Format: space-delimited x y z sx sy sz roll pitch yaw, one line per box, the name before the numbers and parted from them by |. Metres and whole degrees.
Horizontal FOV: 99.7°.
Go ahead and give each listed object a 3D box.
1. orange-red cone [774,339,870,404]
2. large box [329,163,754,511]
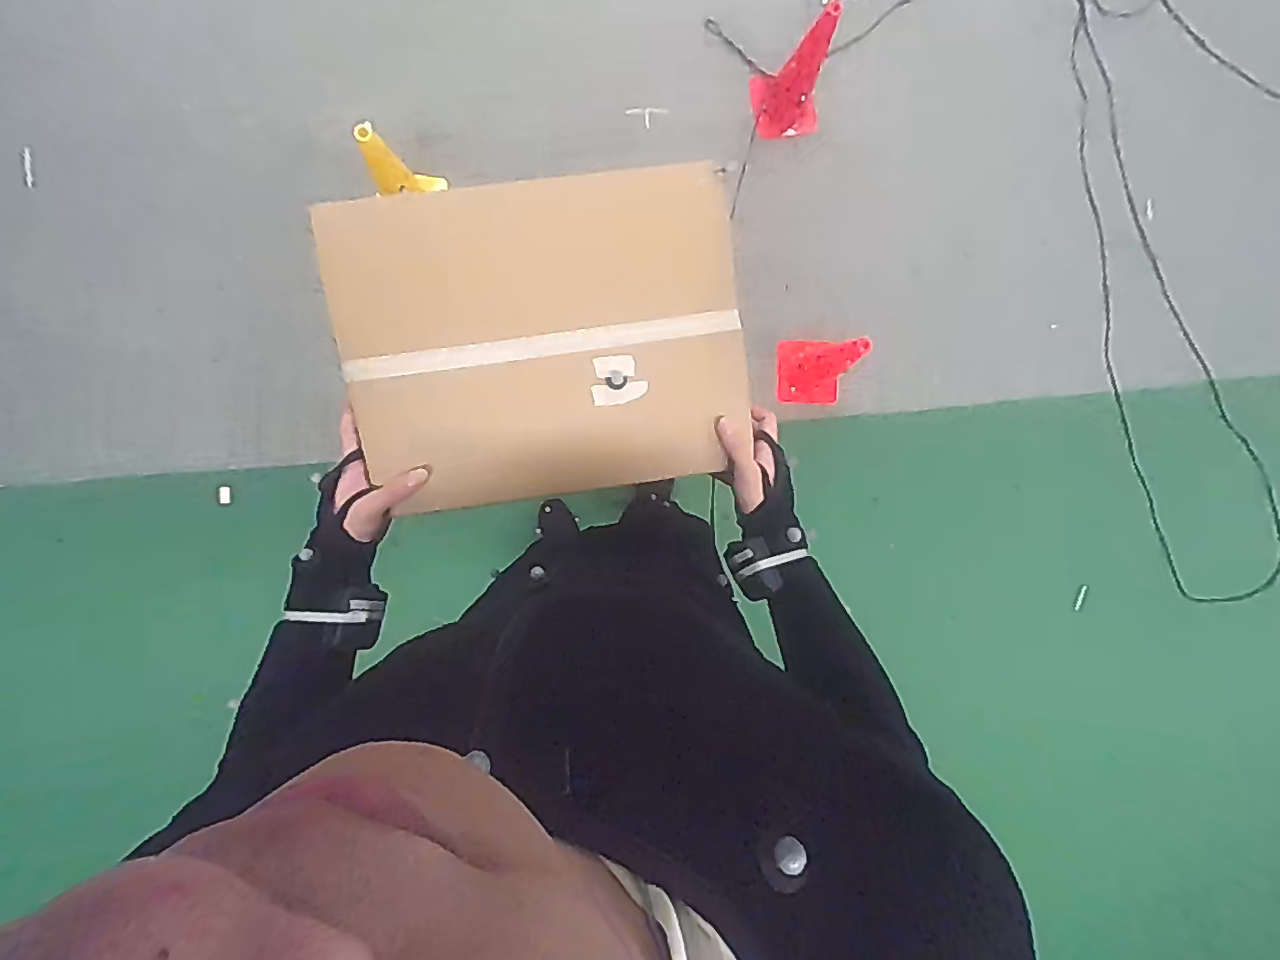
orange-red cone | 0.549 -0.342 1.546 0.199 0.360 0.198 2 90 -8
large box | -0.103 -0.166 0.707 0.408 0.320 0.320 -8 100 -4
